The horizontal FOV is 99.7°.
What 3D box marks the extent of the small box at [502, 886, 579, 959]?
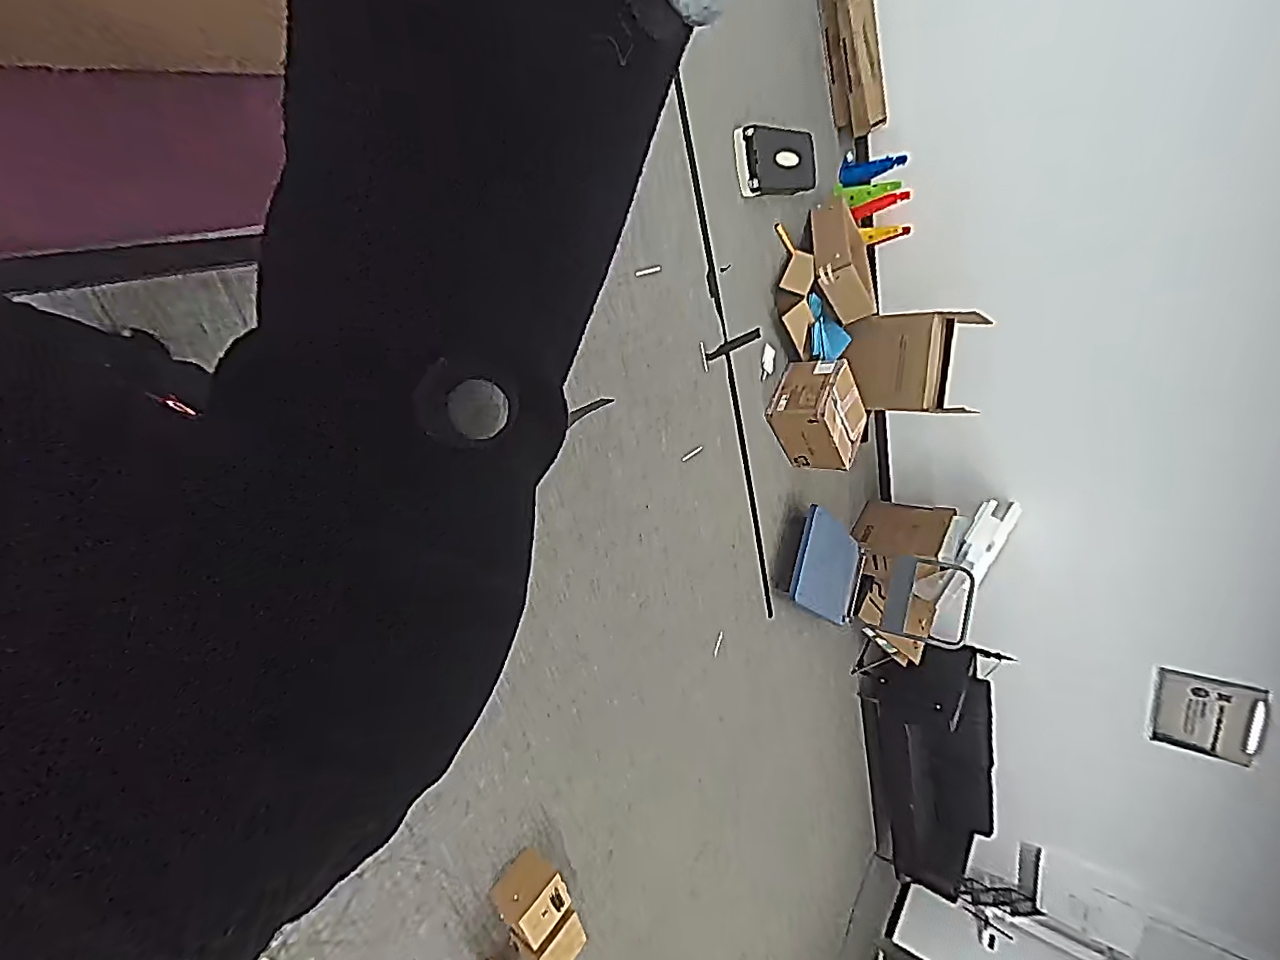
[{"bbox_3d":[-0.345,1.592,1.890,0.179,0.176,0.168,-33,119,-42],"label":"small box"}]
